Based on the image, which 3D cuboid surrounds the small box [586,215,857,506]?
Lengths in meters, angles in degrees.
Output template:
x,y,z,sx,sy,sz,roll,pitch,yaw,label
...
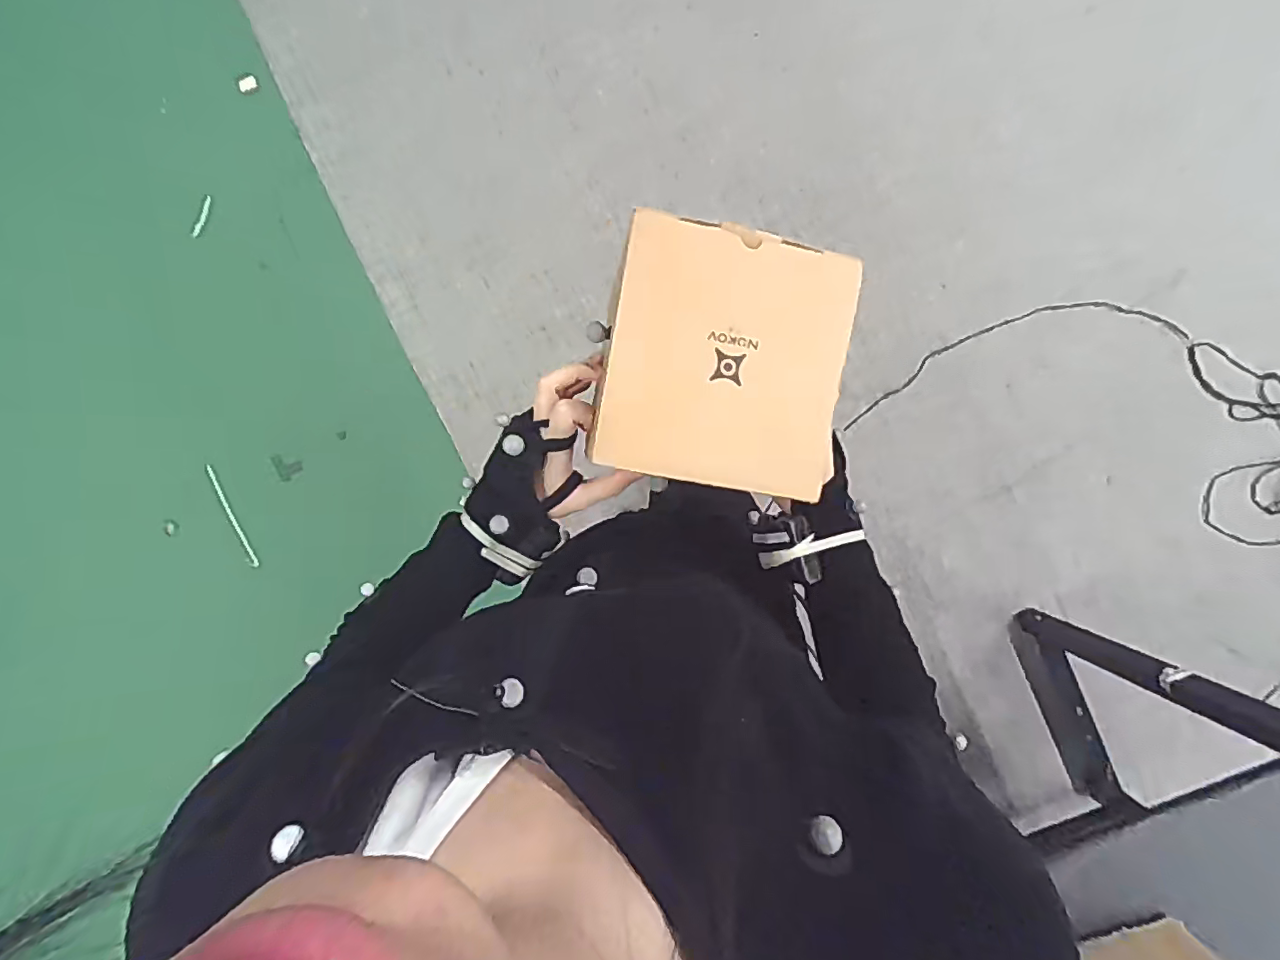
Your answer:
x,y,z,sx,sy,sz,roll,pitch,yaw,label
0.050,-0.085,0.457,0.168,0.176,0.179,10,92,-7,small box
